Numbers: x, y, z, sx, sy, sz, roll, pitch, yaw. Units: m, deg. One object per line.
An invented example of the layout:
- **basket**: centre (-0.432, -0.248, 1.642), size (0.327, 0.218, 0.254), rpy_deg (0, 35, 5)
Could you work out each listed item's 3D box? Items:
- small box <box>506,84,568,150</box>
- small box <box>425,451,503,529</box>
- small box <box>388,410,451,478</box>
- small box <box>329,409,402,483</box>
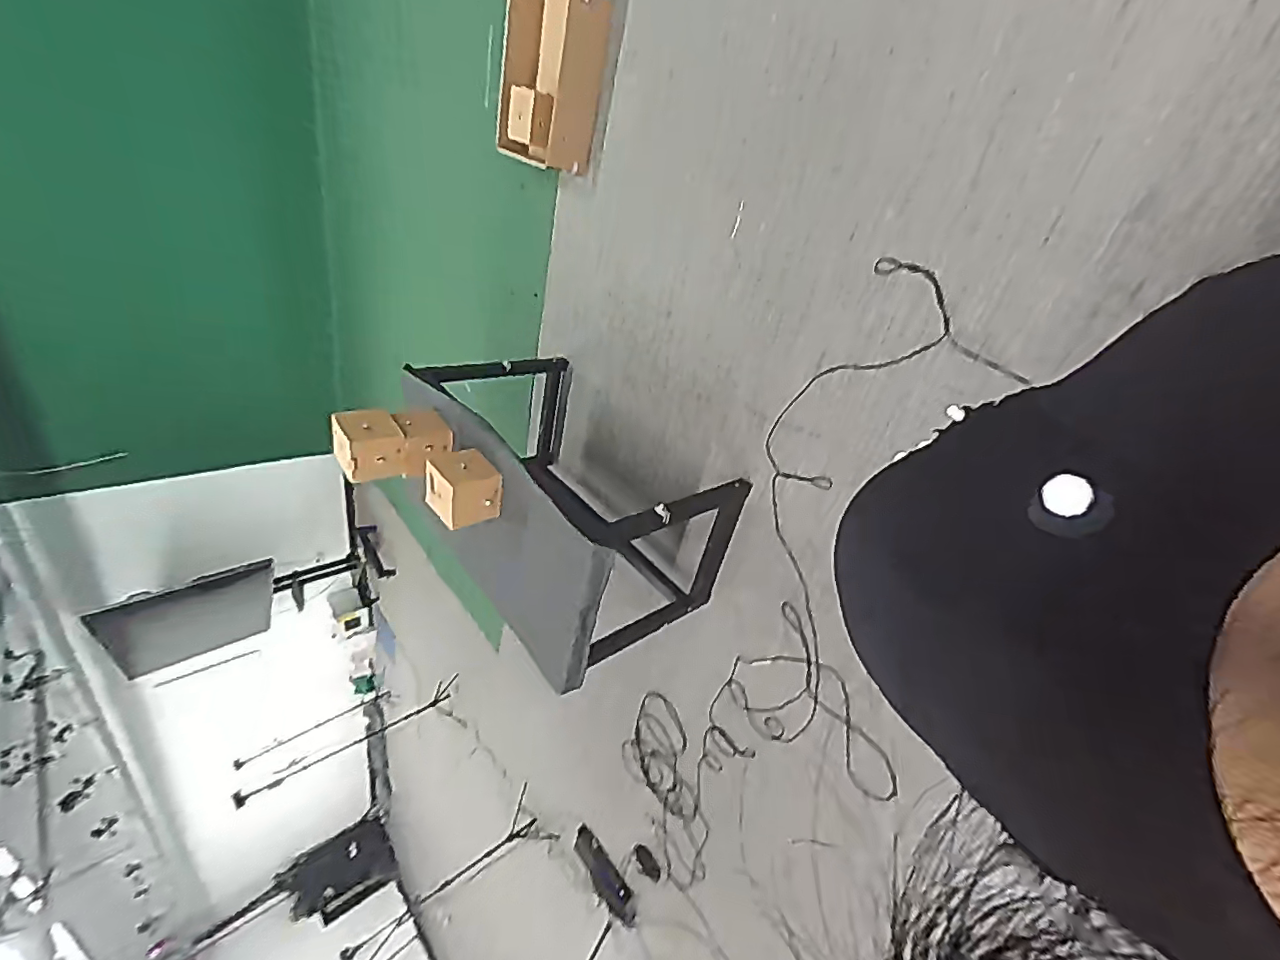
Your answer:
- **small box**: centre (-0.399, -1.407, 2.103), size (0.168, 0.176, 0.179), rpy_deg (38, 127, 32)
- **small box**: centre (-0.552, 0.023, 1.689), size (0.179, 0.176, 0.168), rpy_deg (37, 129, 33)
- **small box**: centre (-0.776, -0.134, 1.891), size (0.179, 0.176, 0.168), rpy_deg (42, 130, 33)
- **small box**: centre (-0.900, -0.119, 1.782), size (0.179, 0.176, 0.168), rpy_deg (43, 131, 30)
